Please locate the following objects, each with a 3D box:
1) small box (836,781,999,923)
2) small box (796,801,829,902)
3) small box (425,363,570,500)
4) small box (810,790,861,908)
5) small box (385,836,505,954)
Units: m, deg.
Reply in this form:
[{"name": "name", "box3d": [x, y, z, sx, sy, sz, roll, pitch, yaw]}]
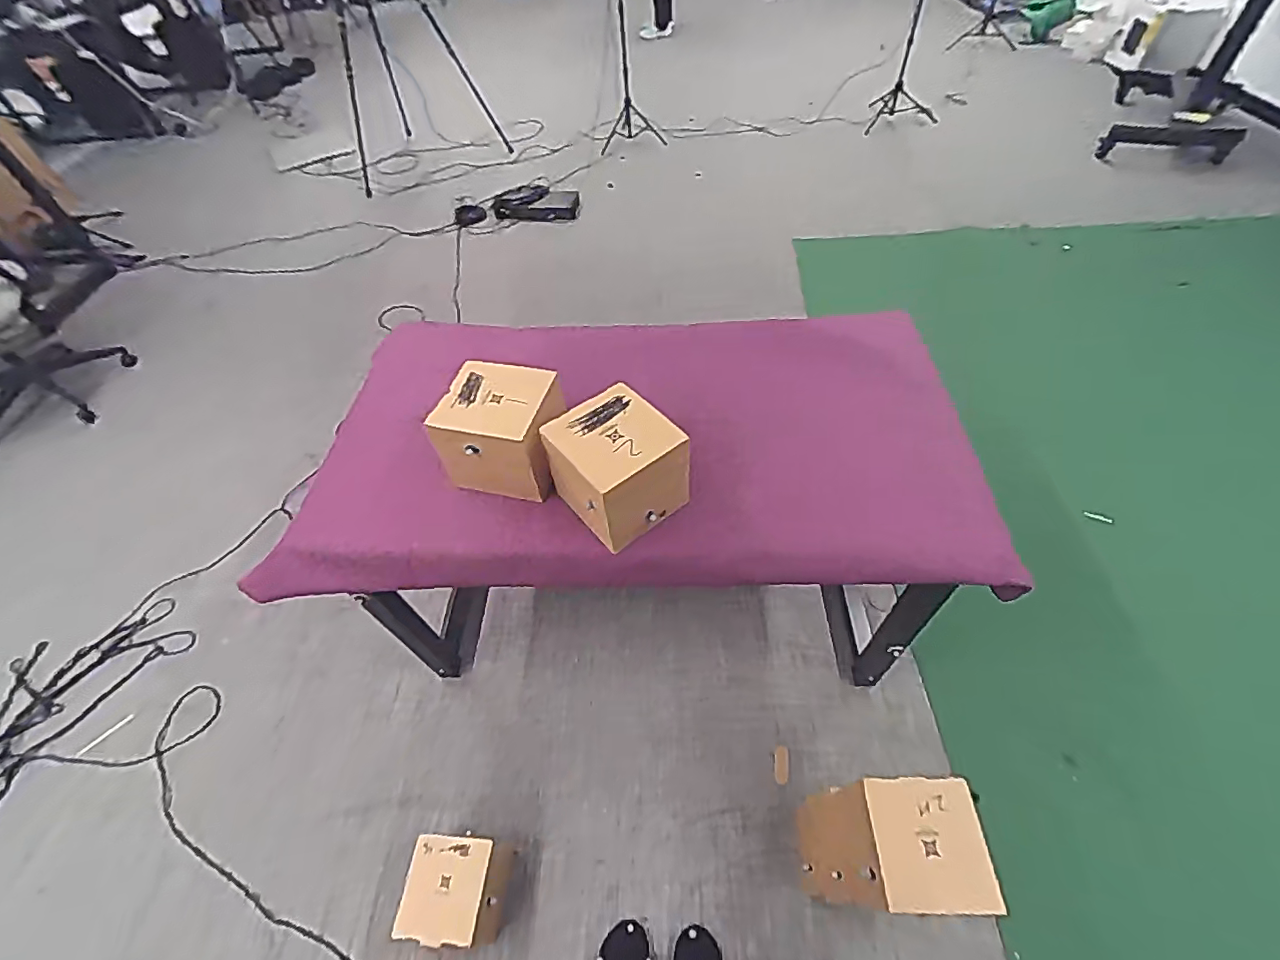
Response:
[{"name": "small box", "box3d": [0.435, 0.603, 0.883, 0.168, 0.176, 0.179, -1, 53, 3]}, {"name": "small box", "box3d": [0.434, 0.794, 1.148, 0.179, 0.176, 0.168, 0, 52, 4]}, {"name": "small box", "box3d": [-0.241, -0.082, 0.962, 0.179, 0.176, 0.168, 10, 53, 11]}, {"name": "small box", "box3d": [0.430, 0.696, 1.019, 0.168, 0.176, 0.179, -2, 53, 2]}, {"name": "small box", "box3d": [-0.399, 0.873, 1.145, 0.168, 0.176, 0.179, 2, 53, 6]}]
